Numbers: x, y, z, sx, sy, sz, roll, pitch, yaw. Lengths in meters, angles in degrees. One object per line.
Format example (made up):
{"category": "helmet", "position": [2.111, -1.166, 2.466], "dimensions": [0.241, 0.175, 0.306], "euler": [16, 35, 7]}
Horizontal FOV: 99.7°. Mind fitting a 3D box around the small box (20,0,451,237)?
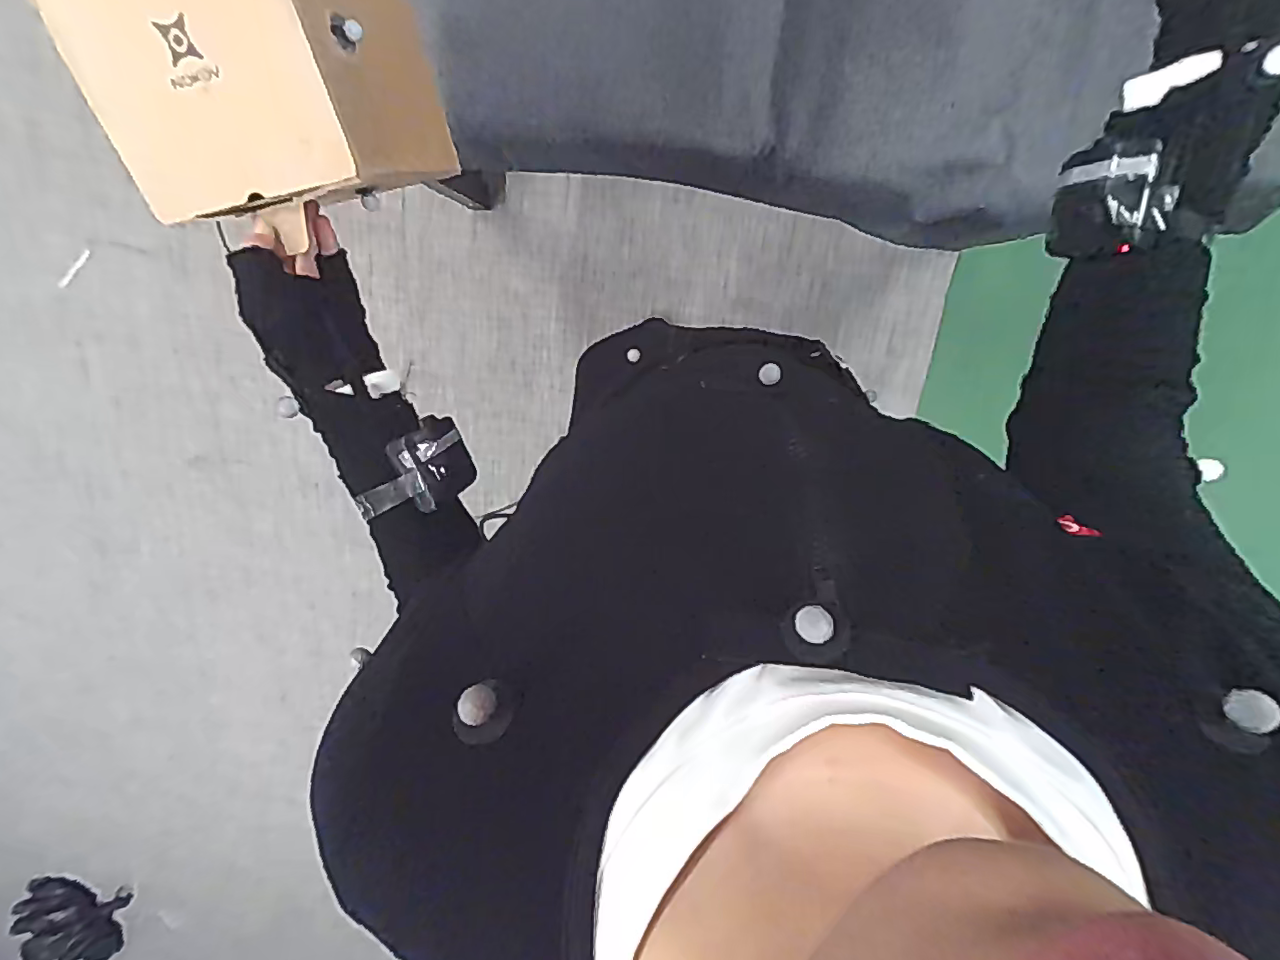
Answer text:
{"category": "small box", "position": [-0.266, -0.295, 0.393], "dimensions": [0.168, 0.176, 0.179], "euler": [-7, 119, 11]}
